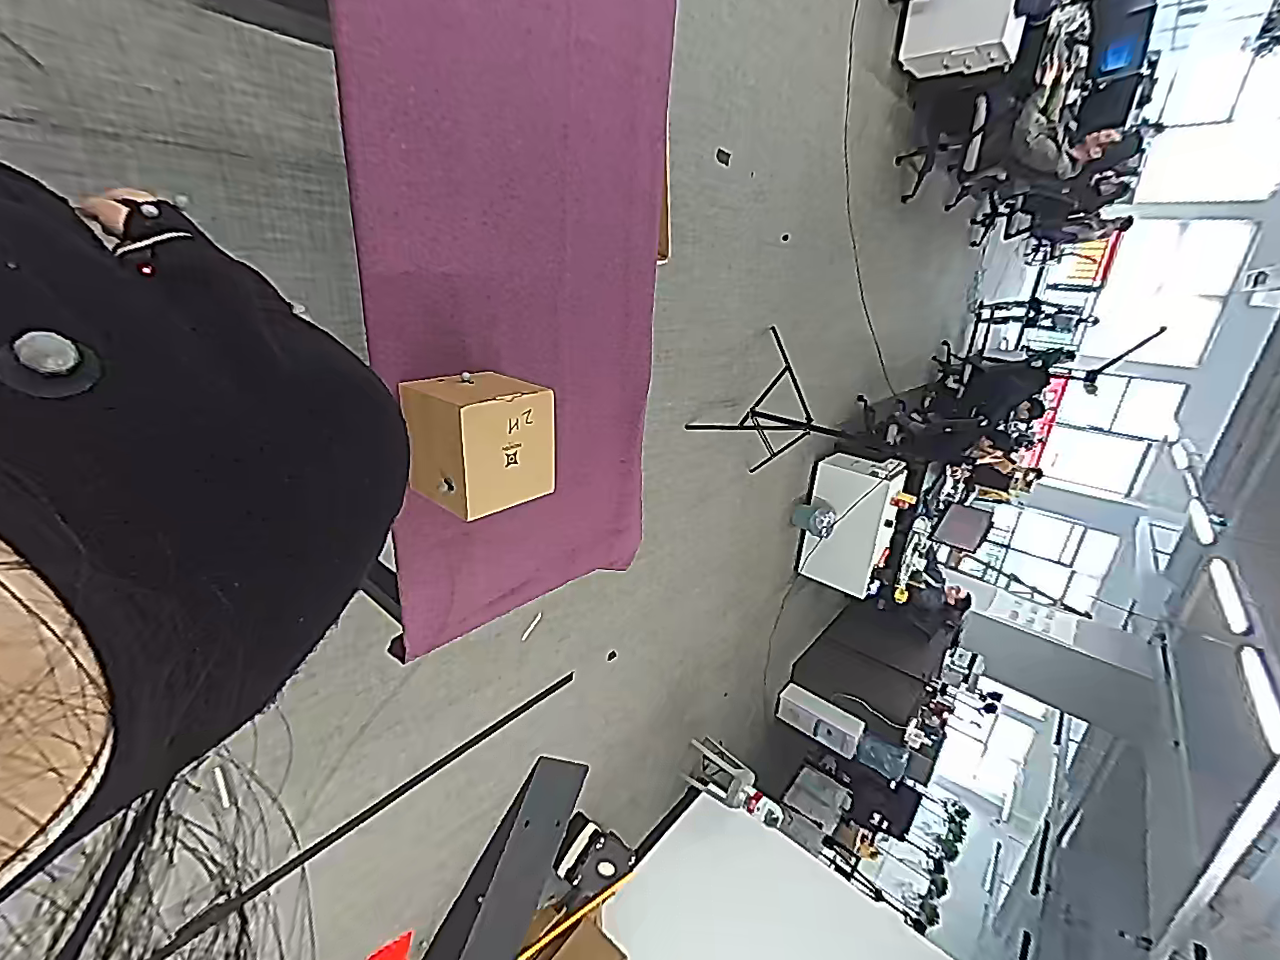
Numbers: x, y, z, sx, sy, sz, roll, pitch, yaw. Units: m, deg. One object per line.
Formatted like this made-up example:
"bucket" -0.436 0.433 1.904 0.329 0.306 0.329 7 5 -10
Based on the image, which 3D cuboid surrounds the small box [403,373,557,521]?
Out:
"small box" -0.250 -0.061 0.853 0.168 0.176 0.179 -22 122 -46
